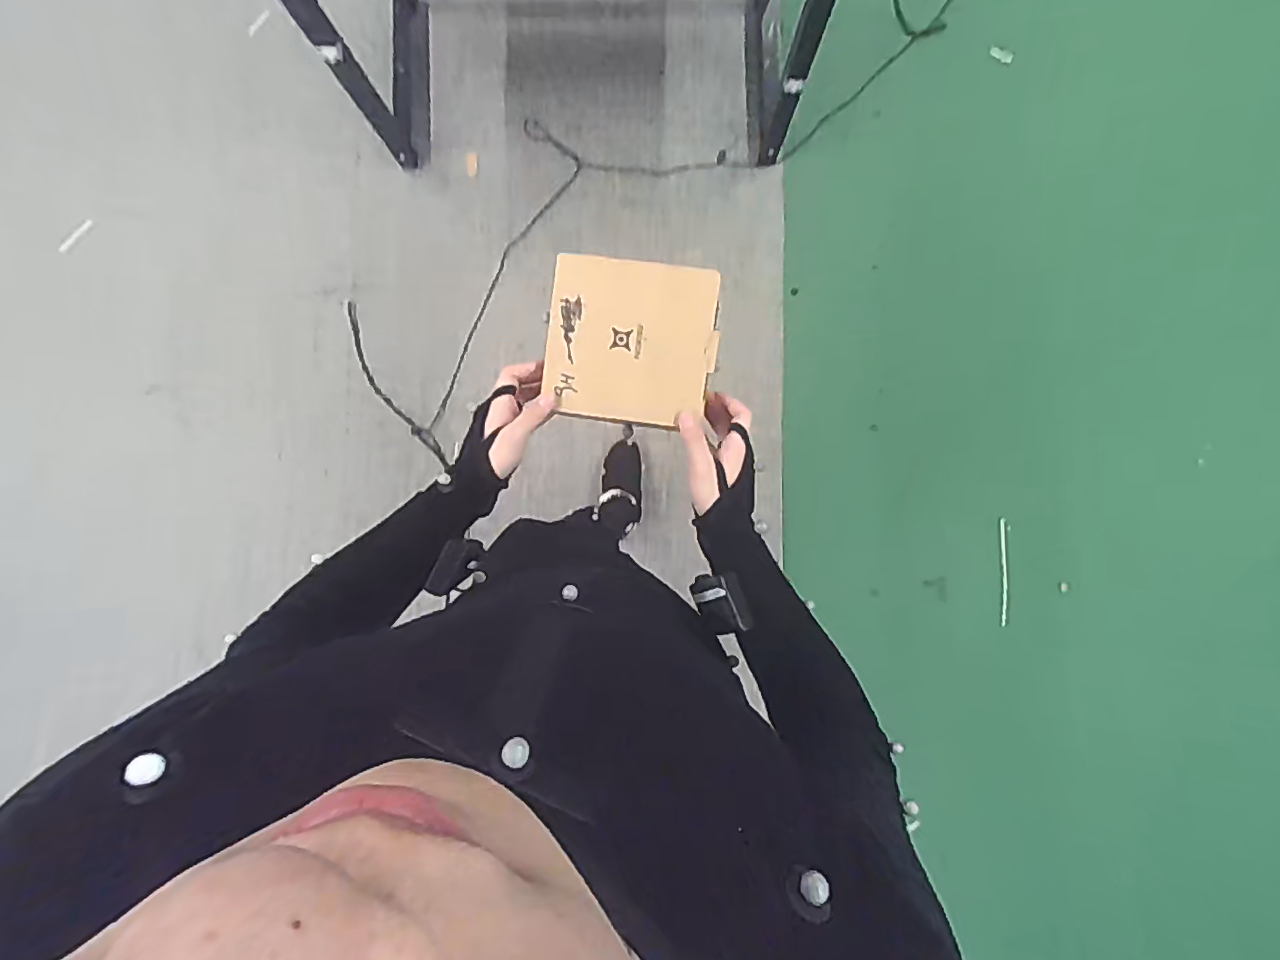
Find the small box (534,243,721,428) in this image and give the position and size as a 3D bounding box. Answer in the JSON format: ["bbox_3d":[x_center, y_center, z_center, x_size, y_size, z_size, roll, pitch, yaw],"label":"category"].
[{"bbox_3d":[-0.011,-0.155,0.637,0.179,0.176,0.168,9,92,2],"label":"small box"}]
